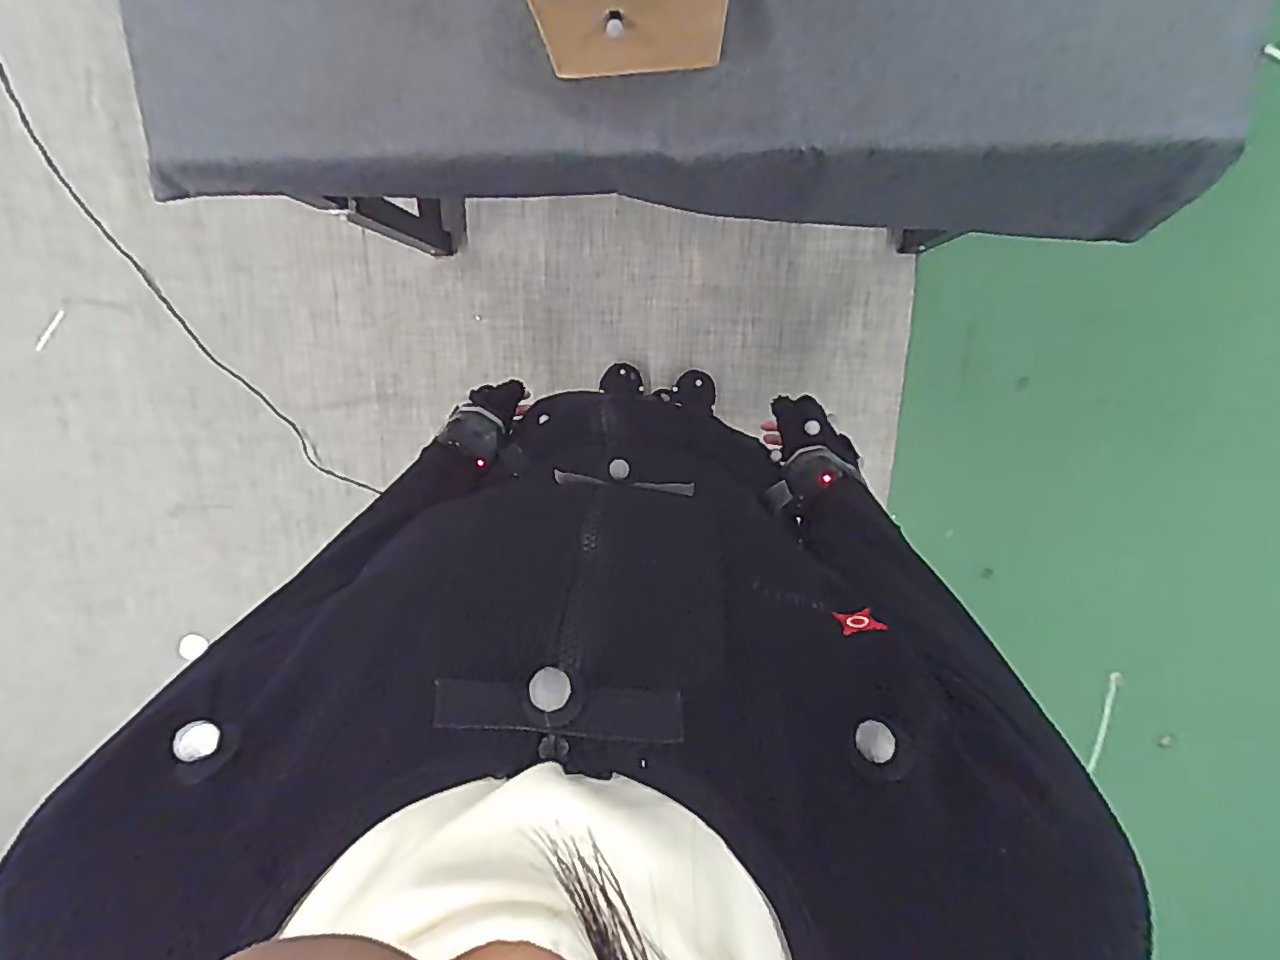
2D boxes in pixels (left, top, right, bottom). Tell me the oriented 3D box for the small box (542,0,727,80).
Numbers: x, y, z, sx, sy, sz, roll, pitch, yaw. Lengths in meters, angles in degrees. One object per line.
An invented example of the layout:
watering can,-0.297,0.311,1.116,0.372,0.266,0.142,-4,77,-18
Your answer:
small box,-0.010,-0.507,0.497,0.179,0.176,0.168,-5,100,5
